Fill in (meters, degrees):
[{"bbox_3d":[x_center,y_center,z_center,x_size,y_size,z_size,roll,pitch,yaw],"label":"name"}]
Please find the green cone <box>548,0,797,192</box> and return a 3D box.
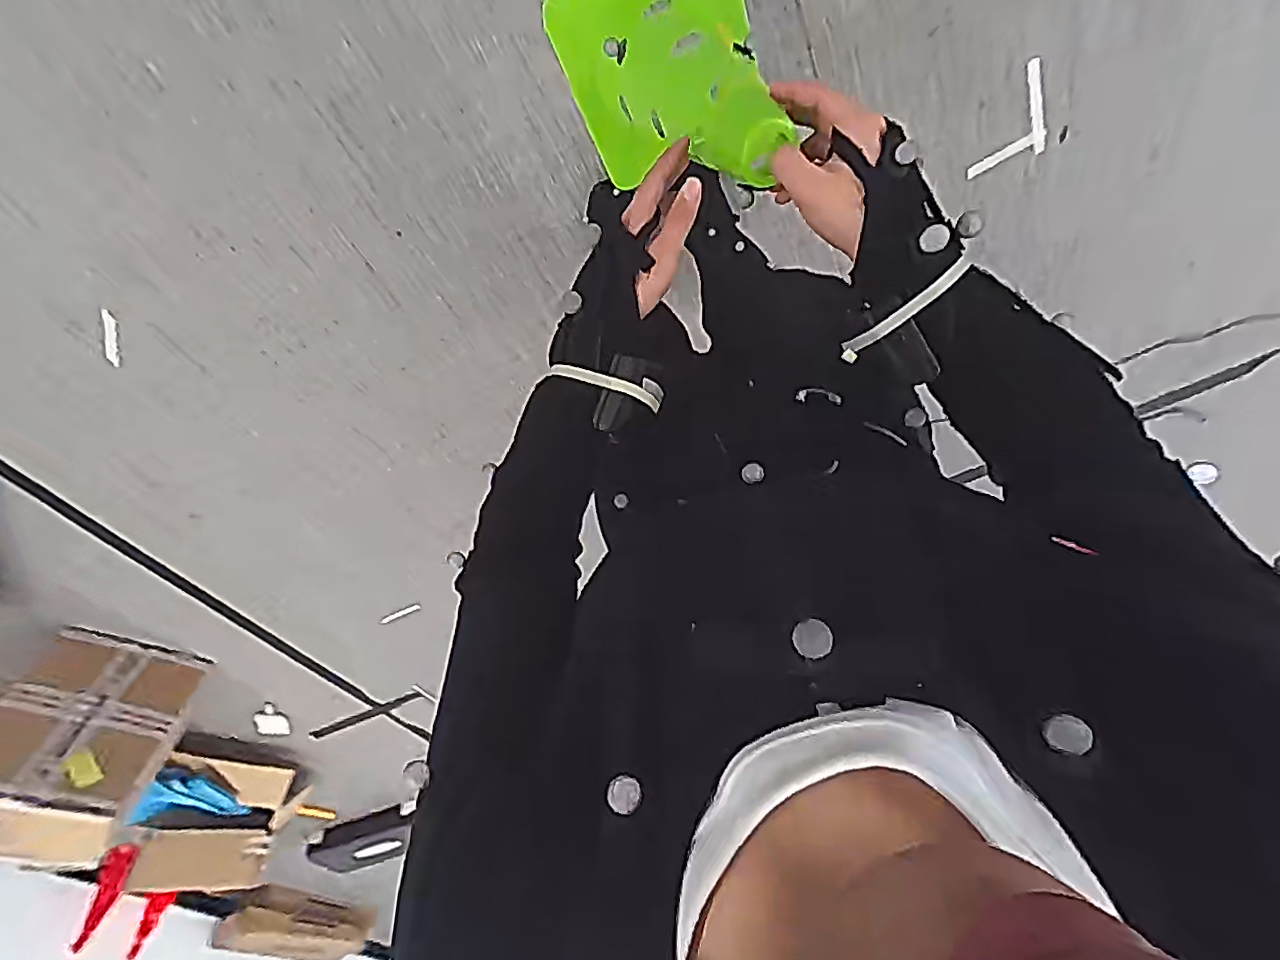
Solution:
[{"bbox_3d":[0.056,-0.331,0.458,0.202,0.368,0.200,-22,135,10],"label":"green cone"}]
